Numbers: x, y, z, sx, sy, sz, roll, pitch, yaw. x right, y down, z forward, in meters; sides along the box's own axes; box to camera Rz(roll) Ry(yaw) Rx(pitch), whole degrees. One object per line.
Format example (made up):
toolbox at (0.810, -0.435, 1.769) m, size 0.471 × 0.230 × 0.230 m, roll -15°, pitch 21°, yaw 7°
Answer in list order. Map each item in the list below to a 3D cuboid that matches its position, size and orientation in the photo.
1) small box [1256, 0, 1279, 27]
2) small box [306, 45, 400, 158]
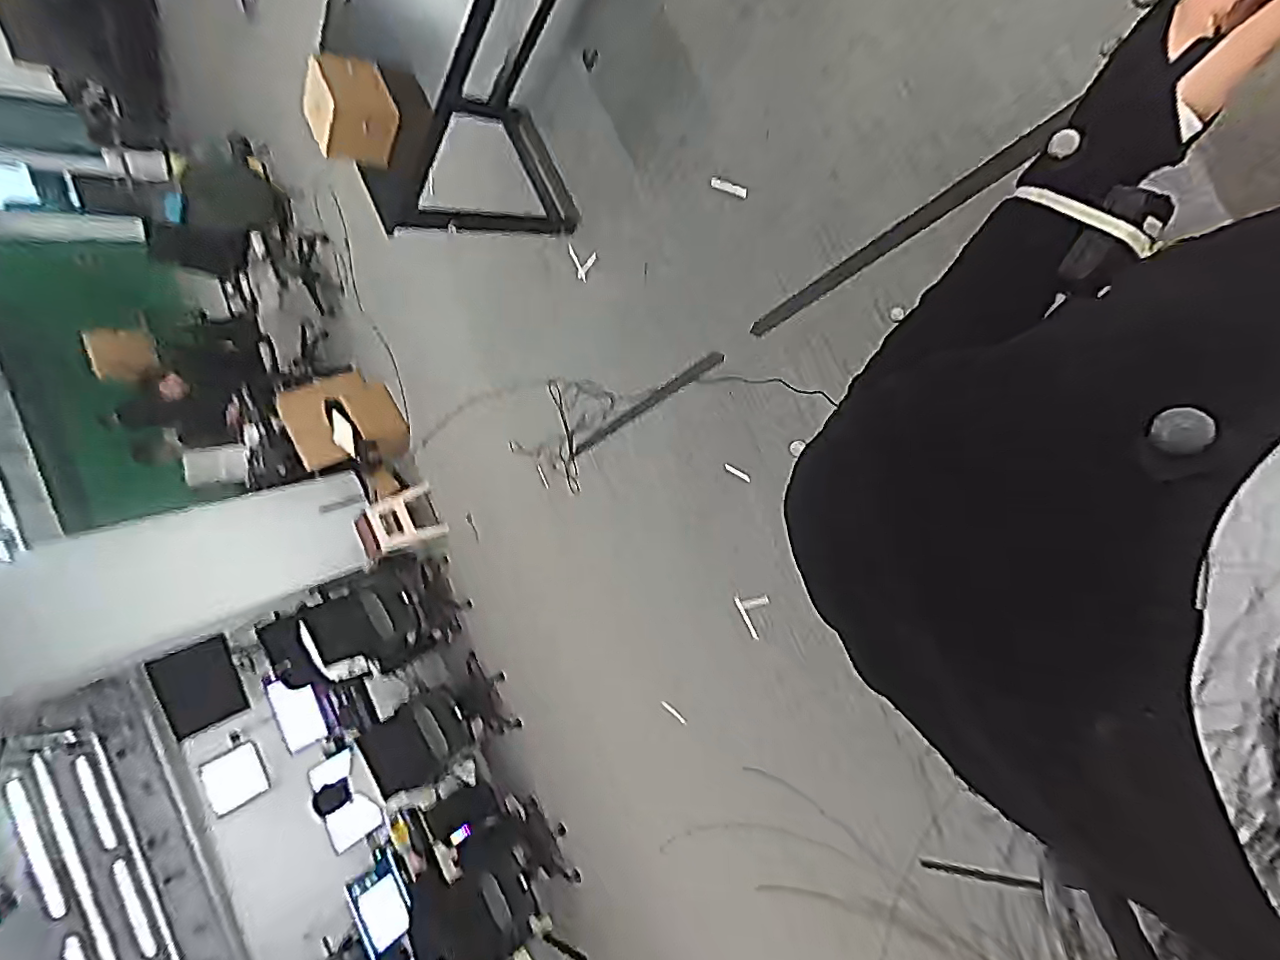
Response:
small box at (0.462, -0.345, 0.262) m, size 0.179 × 0.176 × 0.168 m, roll 21°, pitch 129°, yaw 37°
small box at (-0.771, -1.011, 1.459) m, size 0.179 × 0.176 × 0.168 m, roll -33°, pitch 80°, yaw 49°
